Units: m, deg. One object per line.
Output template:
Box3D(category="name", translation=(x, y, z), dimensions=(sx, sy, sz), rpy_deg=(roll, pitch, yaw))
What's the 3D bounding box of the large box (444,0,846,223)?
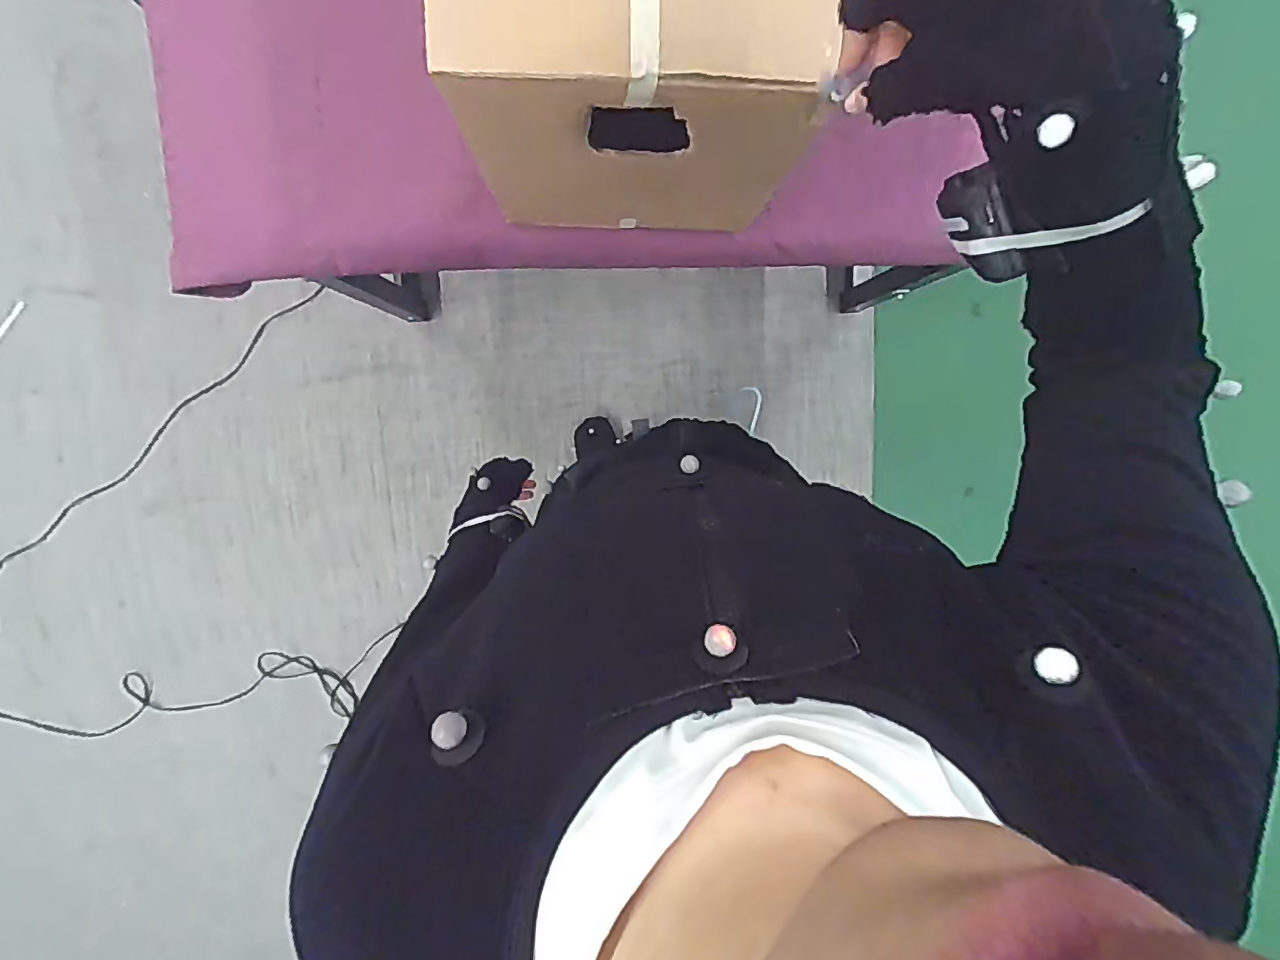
Box3D(category="large box", translation=(-0.004, -0.518, 0.536), dimensions=(0.320, 0.320, 0.408), rpy_deg=(0, 98, -3))
